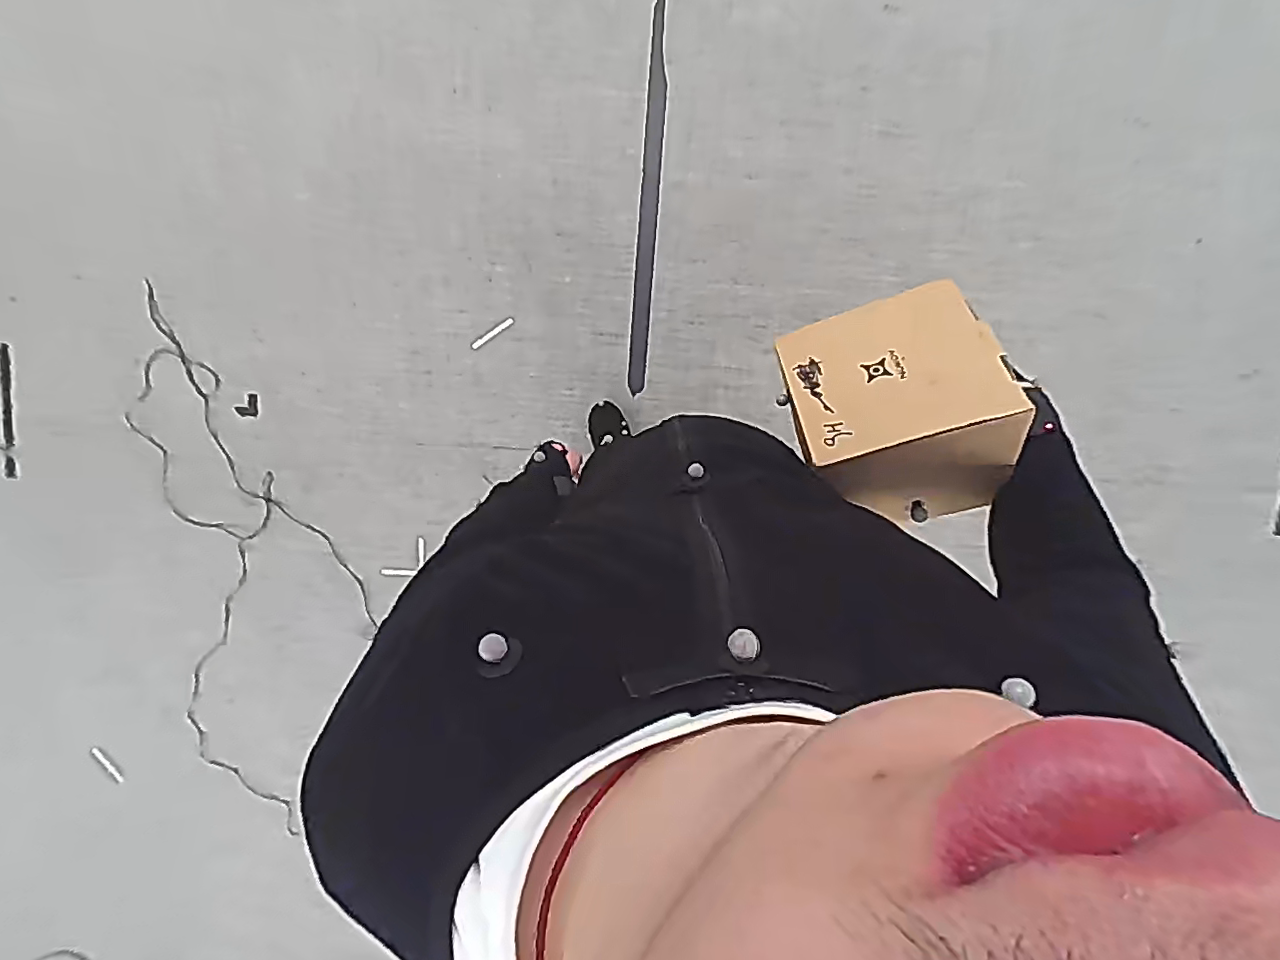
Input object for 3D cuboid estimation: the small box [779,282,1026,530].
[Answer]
[{"bbox_3d":[0.260,-0.067,0.572,0.179,0.176,0.168,-15,55,15],"label":"small box"}]
